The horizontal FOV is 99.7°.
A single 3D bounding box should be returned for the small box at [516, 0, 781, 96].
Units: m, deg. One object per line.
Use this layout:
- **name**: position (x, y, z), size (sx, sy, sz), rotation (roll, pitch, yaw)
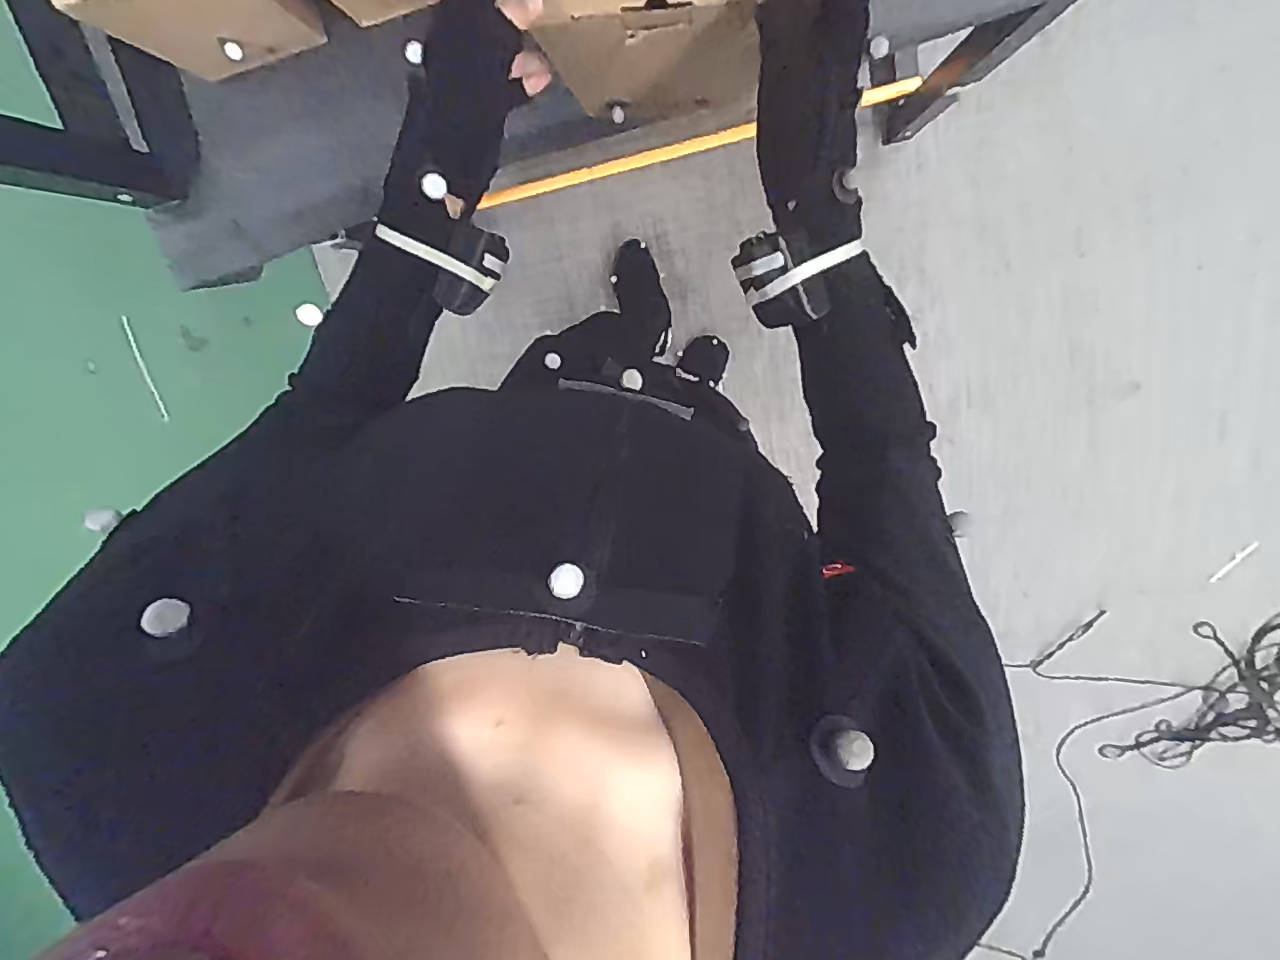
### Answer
- **small box**: position (0.017, -0.391, 0.370), size (0.168, 0.176, 0.179), rotation (2, 106, 9)
